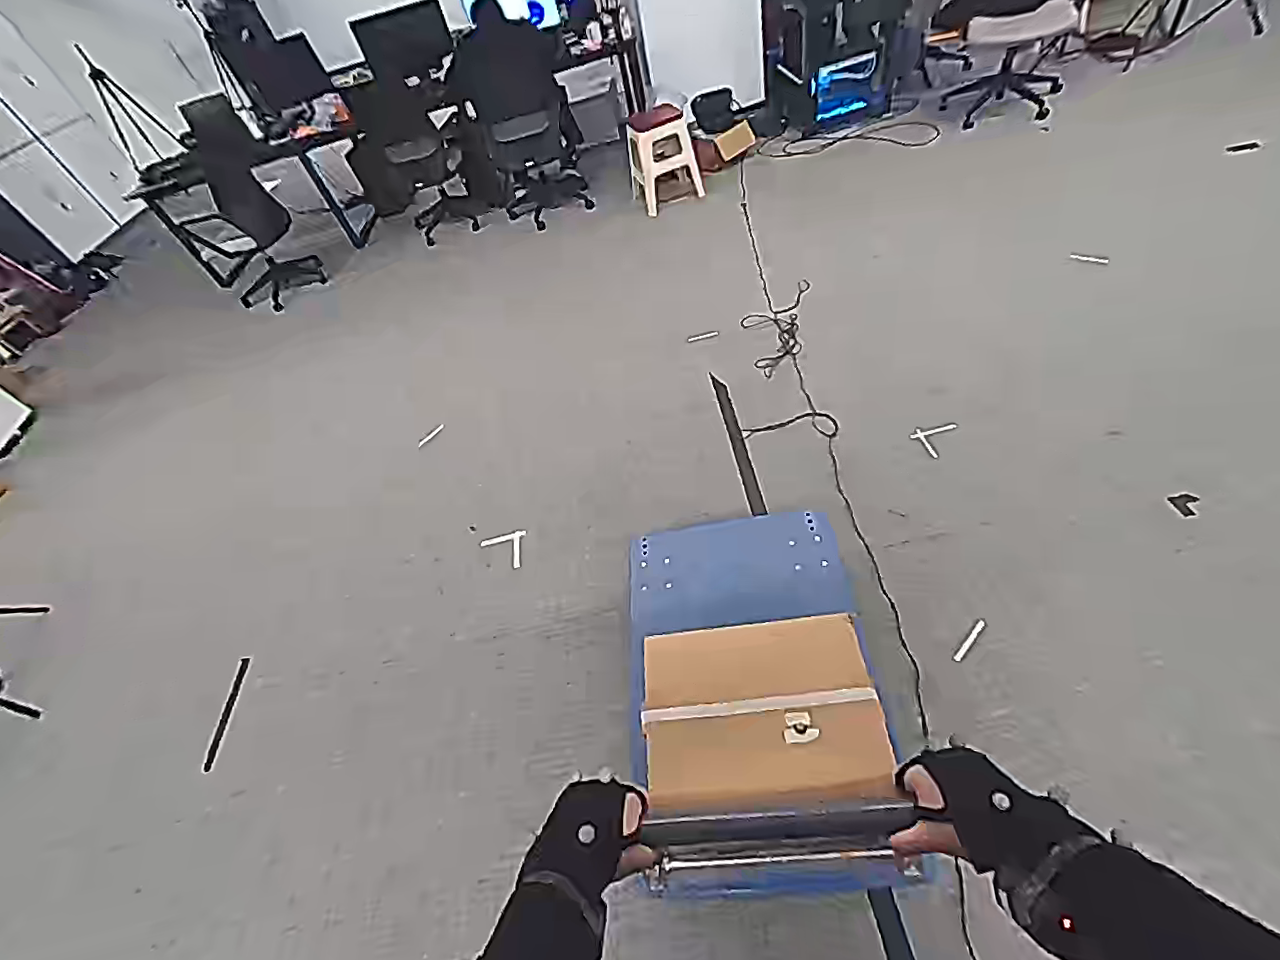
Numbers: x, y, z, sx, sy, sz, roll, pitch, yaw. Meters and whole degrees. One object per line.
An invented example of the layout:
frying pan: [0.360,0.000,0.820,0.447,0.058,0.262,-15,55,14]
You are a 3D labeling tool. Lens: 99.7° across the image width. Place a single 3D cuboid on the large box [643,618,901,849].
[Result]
large box: [0.233,0.505,1.059,0.408,0.320,0.320,-9,48,8]
